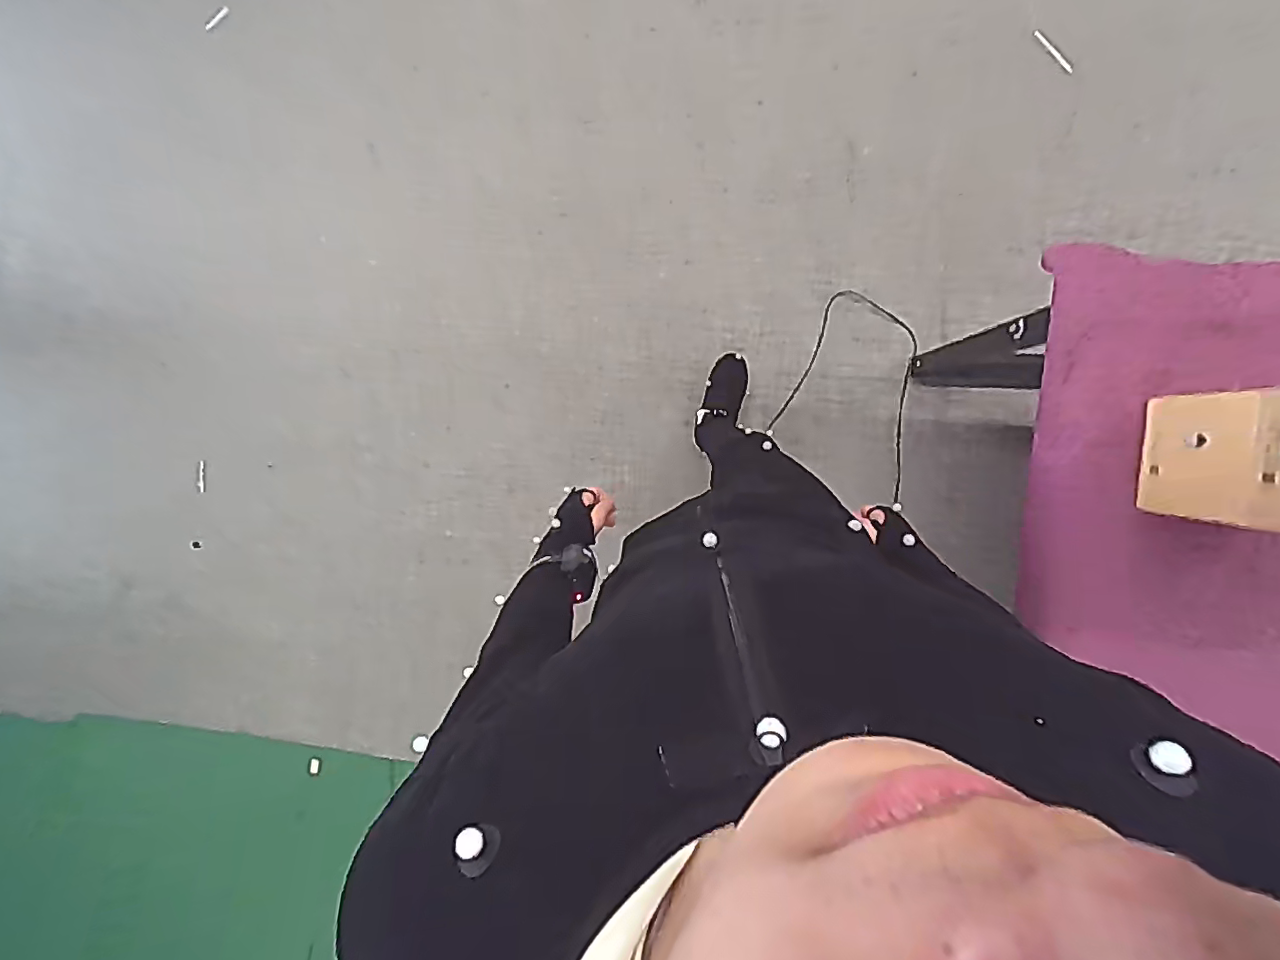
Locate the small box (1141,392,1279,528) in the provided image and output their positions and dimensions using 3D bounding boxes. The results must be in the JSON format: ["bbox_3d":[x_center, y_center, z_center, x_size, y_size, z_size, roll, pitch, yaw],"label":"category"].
[{"bbox_3d":[0.824,-0.024,0.716,0.179,0.176,0.168,2,95,5],"label":"small box"}]

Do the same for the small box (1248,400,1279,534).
[{"bbox_3d":[0.809,-0.010,0.553,0.179,0.176,0.168,3,94,6],"label":"small box"}]
